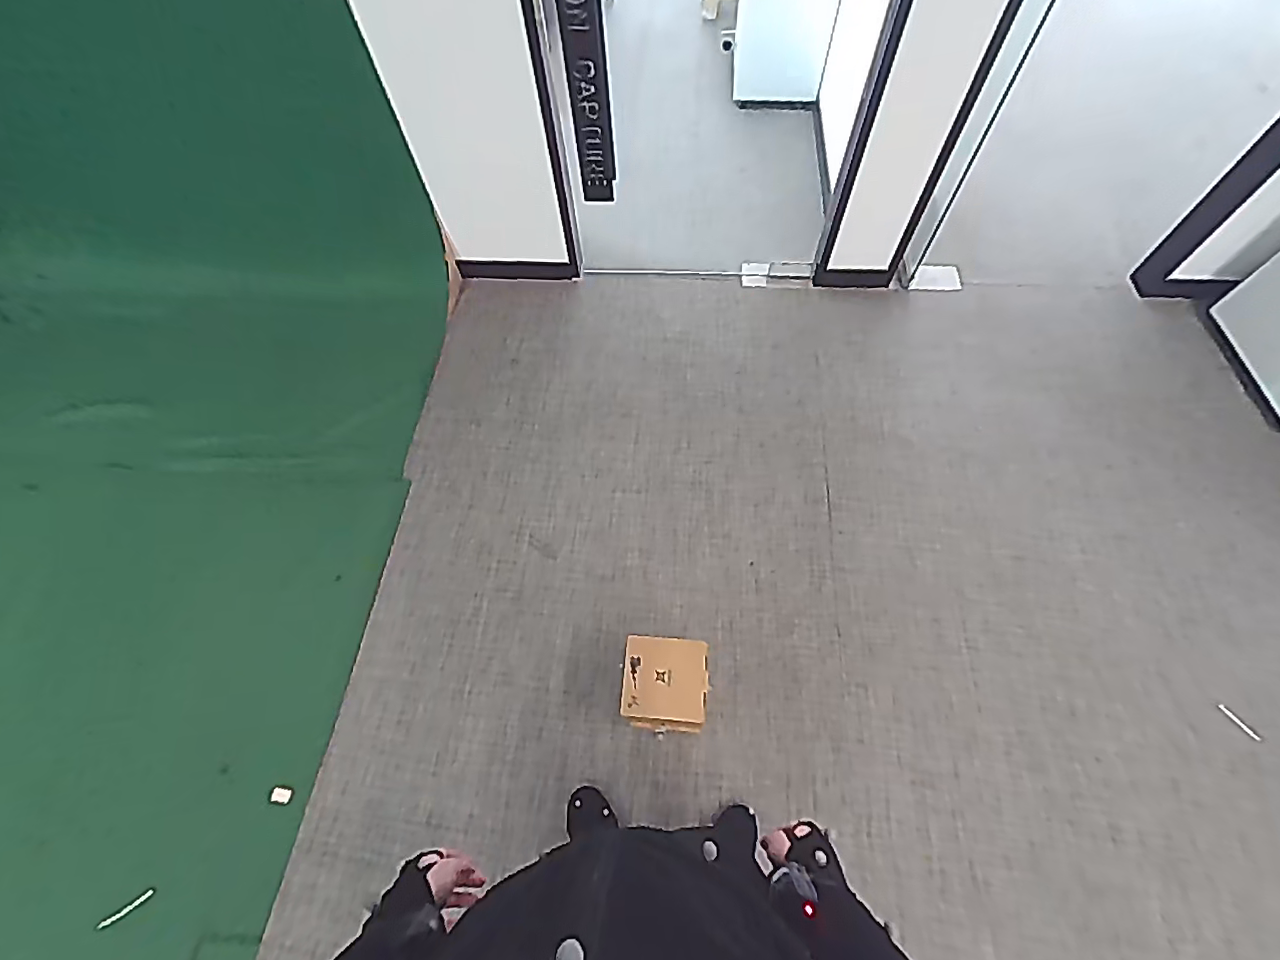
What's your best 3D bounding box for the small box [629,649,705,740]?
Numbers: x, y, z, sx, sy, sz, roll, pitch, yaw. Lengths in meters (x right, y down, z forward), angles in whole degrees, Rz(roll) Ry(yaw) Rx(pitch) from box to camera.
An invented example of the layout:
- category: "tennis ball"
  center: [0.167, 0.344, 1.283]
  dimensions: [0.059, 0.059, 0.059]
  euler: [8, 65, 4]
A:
- category: "small box"
  center: [0.070, 0.533, 1.336]
  dimensions: [0.168, 0.176, 0.179]
  euler: [5, 62, 8]
